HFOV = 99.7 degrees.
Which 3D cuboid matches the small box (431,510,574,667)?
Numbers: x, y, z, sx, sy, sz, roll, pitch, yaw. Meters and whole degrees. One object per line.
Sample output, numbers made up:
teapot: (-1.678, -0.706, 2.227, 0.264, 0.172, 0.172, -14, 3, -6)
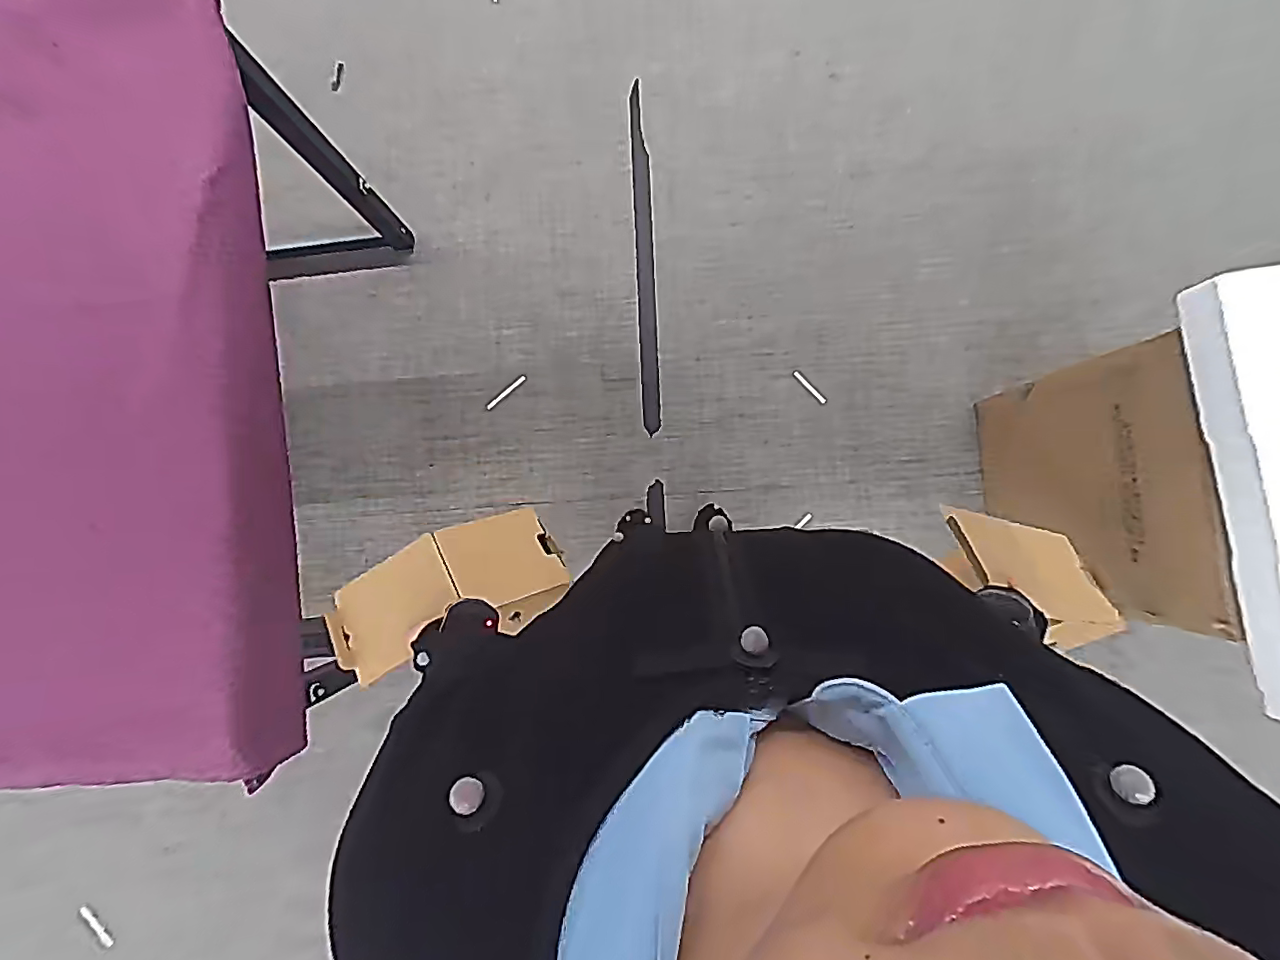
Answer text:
small box: (-0.235, 0.179, 0.894, 0.179, 0.176, 0.168, -13, 53, -34)
